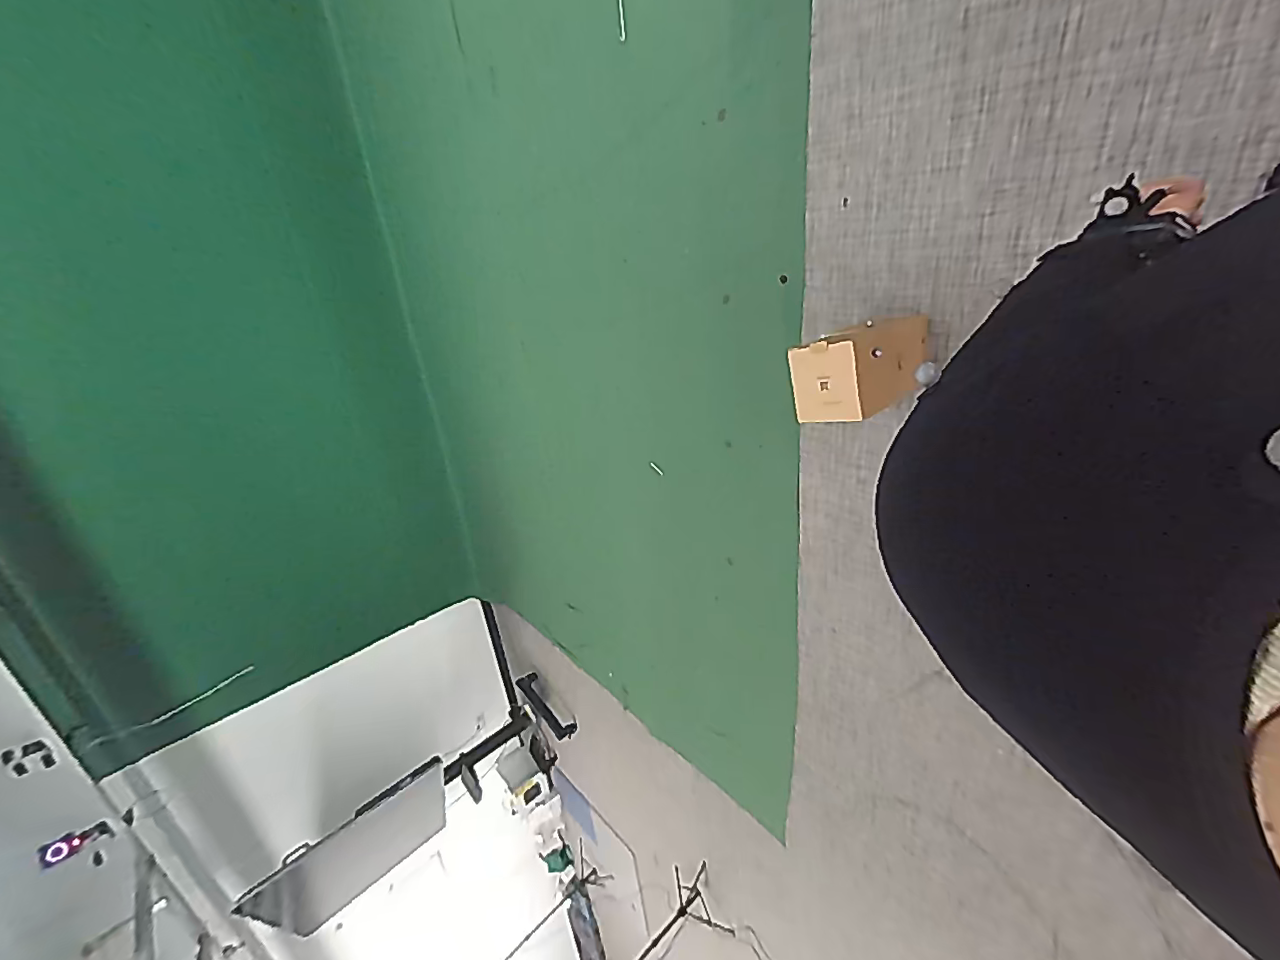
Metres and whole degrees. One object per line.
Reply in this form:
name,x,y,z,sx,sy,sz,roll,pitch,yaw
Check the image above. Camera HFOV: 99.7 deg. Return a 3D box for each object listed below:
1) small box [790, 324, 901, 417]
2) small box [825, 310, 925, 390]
small box,0.471,-0.252,1.236,0.168,0.176,0.179,6,115,53
small box,0.585,-0.315,1.334,0.179,0.176,0.168,9,117,51
